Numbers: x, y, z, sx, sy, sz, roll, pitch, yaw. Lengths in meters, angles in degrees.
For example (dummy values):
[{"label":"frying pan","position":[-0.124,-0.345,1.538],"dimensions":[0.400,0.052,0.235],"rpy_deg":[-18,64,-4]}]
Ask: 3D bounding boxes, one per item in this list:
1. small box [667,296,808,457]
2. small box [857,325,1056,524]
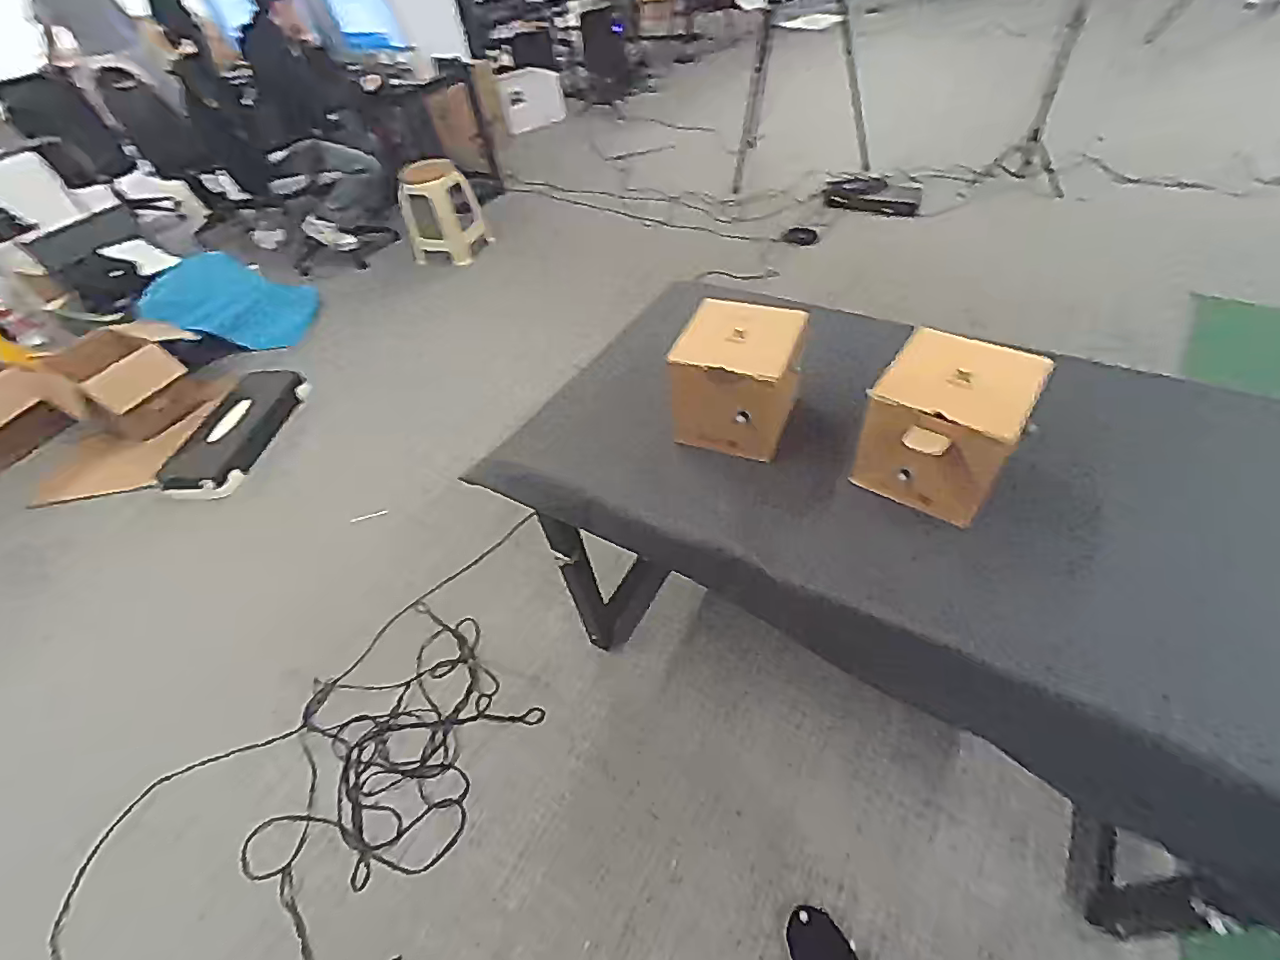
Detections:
[{"label":"small box","position":[0.154,-0.162,0.851],"dimensions":[0.168,0.176,0.179],"rpy_deg":[16,51,20]},{"label":"small box","position":[0.416,-0.076,0.734],"dimensions":[0.168,0.176,0.179],"rpy_deg":[28,57,28]}]
